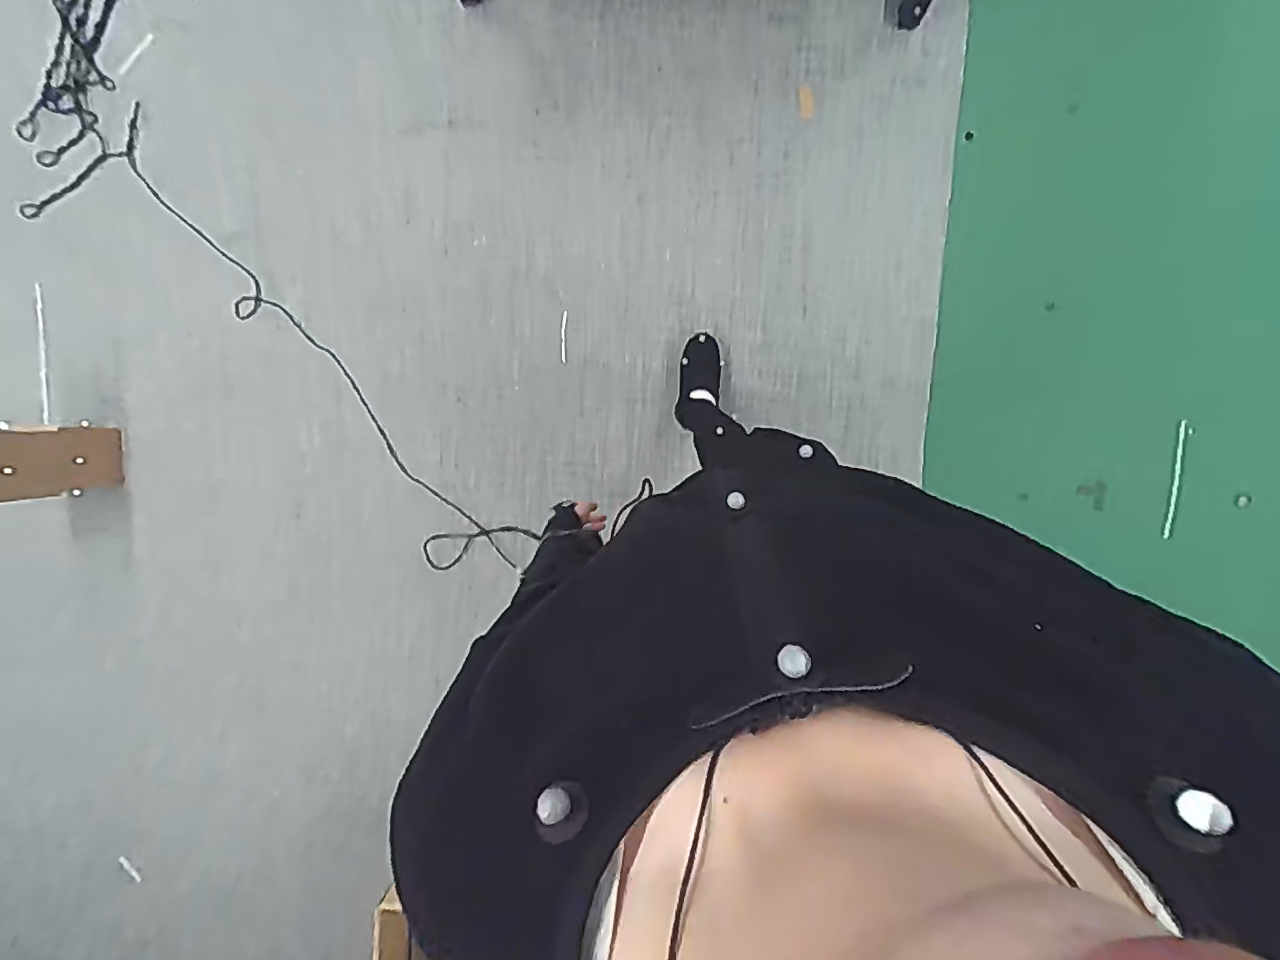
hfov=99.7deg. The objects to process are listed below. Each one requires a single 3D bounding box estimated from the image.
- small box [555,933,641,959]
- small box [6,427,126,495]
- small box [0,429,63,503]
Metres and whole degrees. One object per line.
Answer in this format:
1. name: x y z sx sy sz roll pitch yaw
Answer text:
1. small box: -0.097 1.047 1.066 0.179 0.176 0.168 6 94 3
2. small box: -1.588 -0.057 1.506 0.168 0.176 0.179 2 94 3
3. small box: -1.598 -0.035 1.343 0.168 0.176 0.179 3 94 2
